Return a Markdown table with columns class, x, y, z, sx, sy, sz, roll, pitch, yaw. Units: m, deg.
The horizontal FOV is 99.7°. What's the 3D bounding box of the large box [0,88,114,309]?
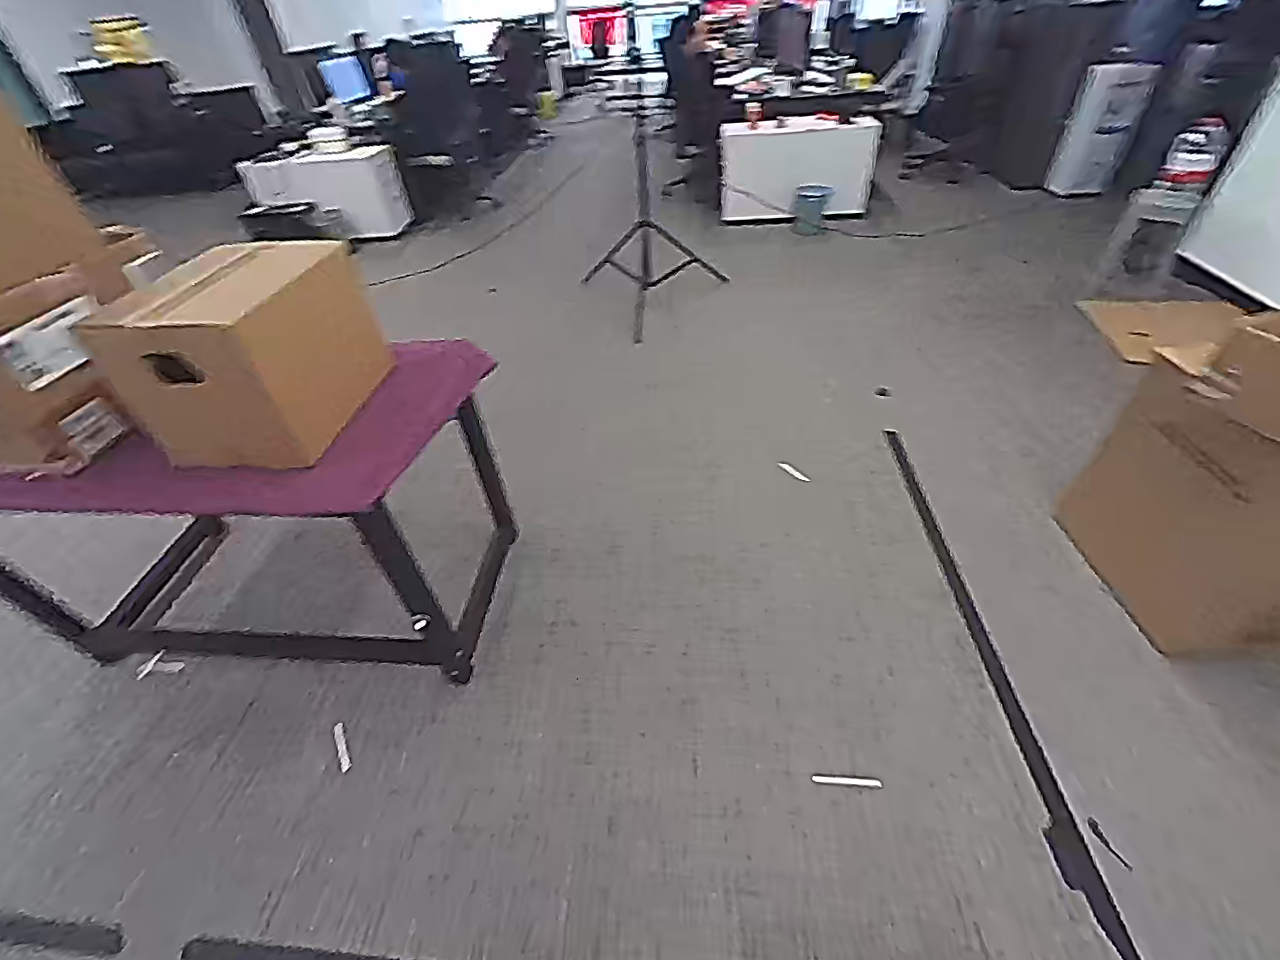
| class | x | y | z | sx | sy | sz | roll | pitch | yaw |
| --- | --- | --- | --- | --- | --- | --- | --- | --- | --- |
| large box | -1.349 | -0.496 | 0.991 | 0.320 | 0.320 | 0.408 | -1 | 43 | 7 |
